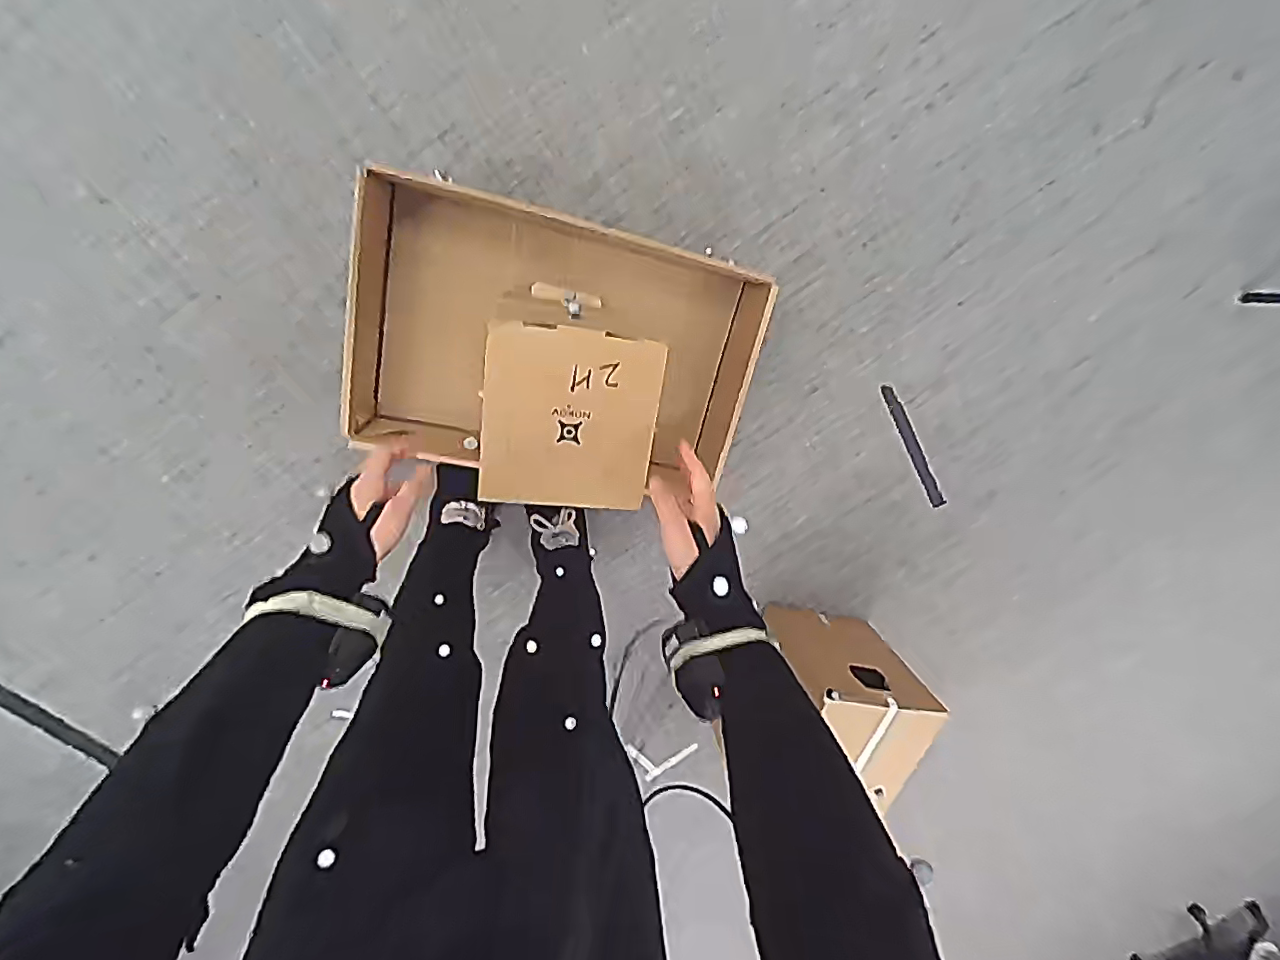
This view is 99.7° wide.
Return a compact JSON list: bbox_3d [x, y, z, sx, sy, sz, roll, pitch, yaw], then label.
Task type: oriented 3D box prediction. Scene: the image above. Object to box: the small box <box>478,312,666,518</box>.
[{"bbox_3d":[-0.082,-0.076,0.591,0.168,0.176,0.179,4,112,-15],"label":"small box"}]
